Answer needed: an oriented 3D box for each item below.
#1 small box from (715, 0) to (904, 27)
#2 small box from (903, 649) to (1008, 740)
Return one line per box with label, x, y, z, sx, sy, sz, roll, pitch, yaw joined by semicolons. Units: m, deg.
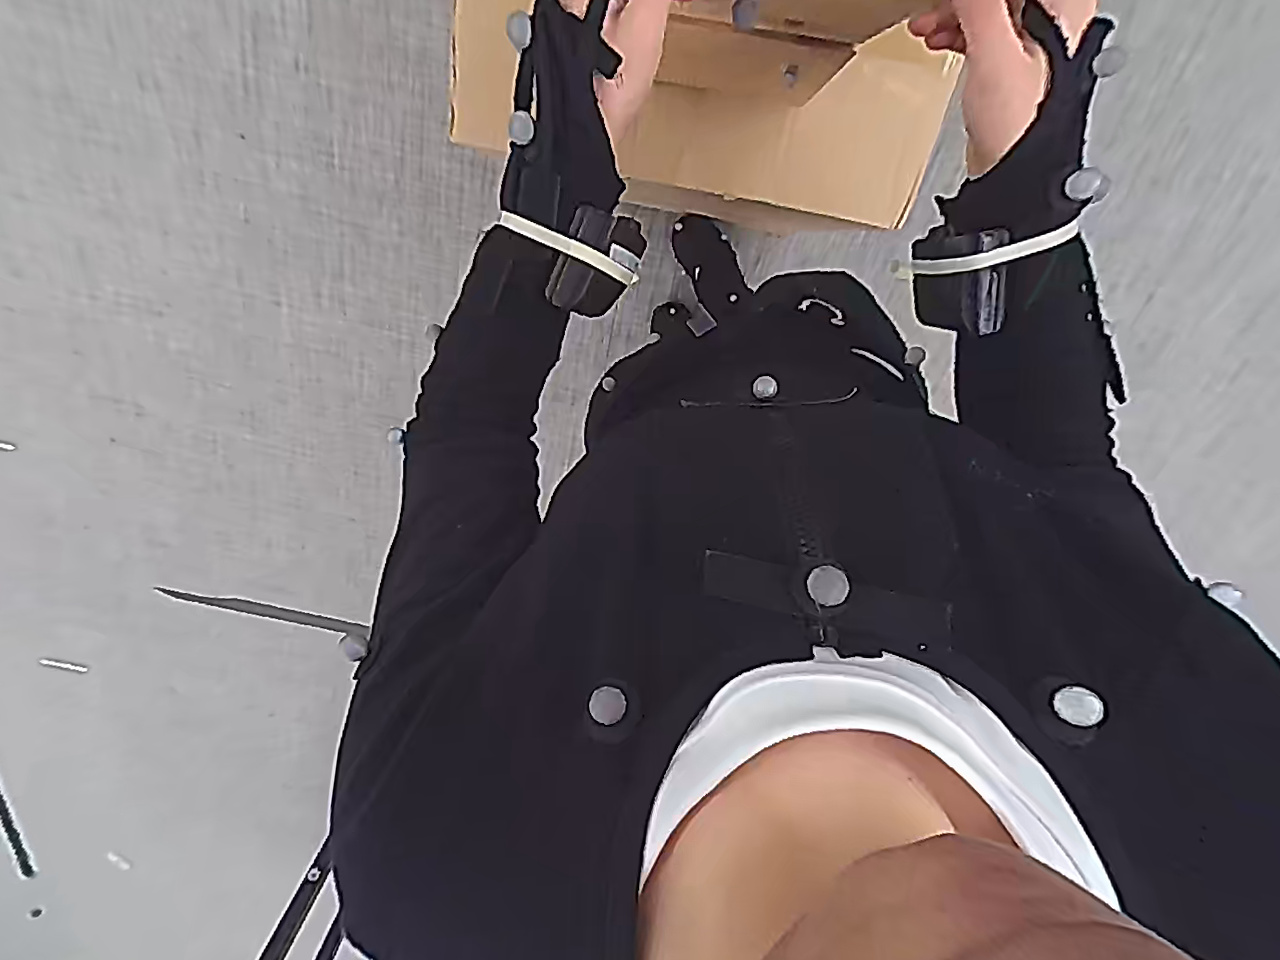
small box;0.099;-0.371;0.283;0.168;0.176;0.179;7;120;-2
small box;0.902;0.615;1.565;0.179;0.176;0.168;10;113;-1
